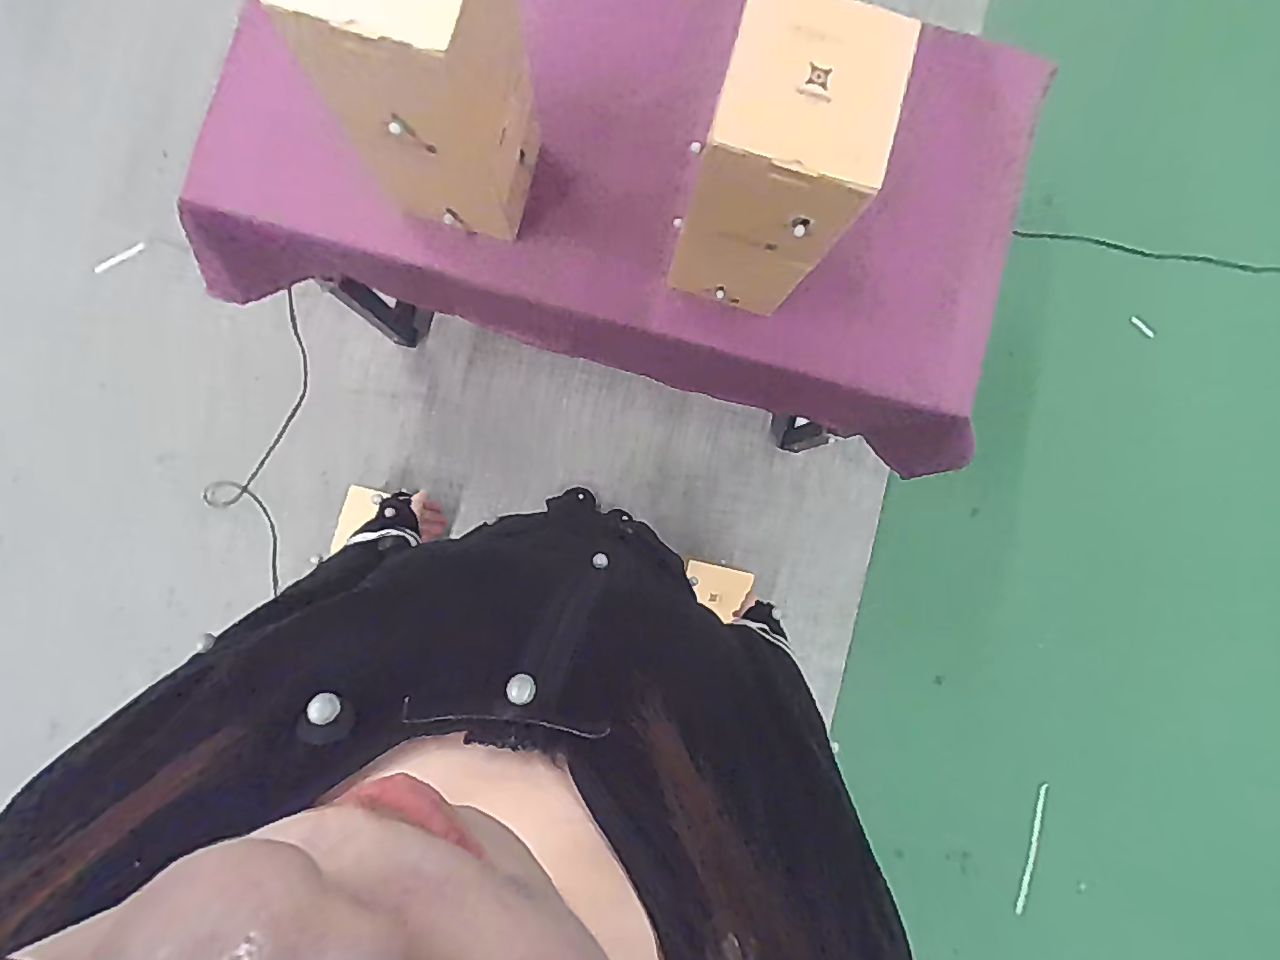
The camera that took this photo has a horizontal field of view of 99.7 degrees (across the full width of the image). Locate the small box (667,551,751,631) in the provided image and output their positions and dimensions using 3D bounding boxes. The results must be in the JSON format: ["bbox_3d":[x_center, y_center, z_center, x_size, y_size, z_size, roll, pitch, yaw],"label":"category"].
[{"bbox_3d":[0.178,0.291,1.454,0.179,0.176,0.168,13,87,-4],"label":"small box"}]

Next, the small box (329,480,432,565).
[{"bbox_3d":[-0.659,0.108,1.397,0.168,0.176,0.179,16,86,-4],"label":"small box"}]

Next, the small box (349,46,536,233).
[{"bbox_3d":[-0.244,-0.458,0.719,0.179,0.176,0.168,13,86,-4],"label":"small box"}]

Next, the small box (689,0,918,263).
[{"bbox_3d":[0.158,-0.364,0.581,0.168,0.176,0.179,15,86,-4],"label":"small box"}]

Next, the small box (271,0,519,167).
[{"bbox_3d":[-0.230,-0.470,0.554,0.168,0.176,0.179,15,87,-3],"label":"small box"}]
